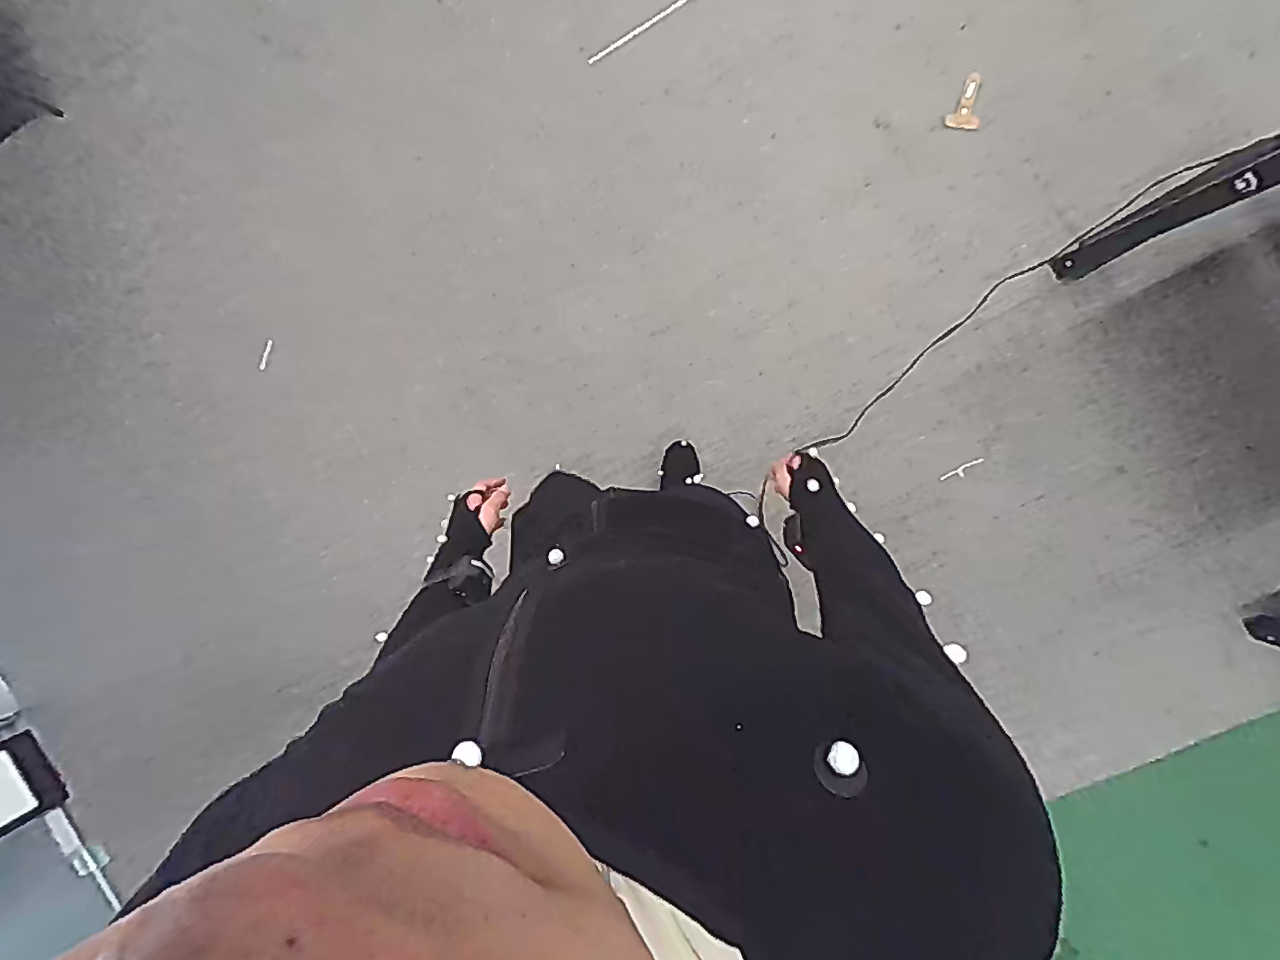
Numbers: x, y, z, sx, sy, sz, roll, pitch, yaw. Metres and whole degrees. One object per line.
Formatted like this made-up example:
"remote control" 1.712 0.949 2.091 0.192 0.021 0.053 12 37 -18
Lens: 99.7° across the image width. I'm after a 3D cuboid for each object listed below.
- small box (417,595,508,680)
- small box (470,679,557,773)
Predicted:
"small box" -0.536 0.475 1.652 0.179 0.176 0.168 -26 92 8
"small box" -0.382 0.749 1.661 0.179 0.176 0.168 -29 91 7
